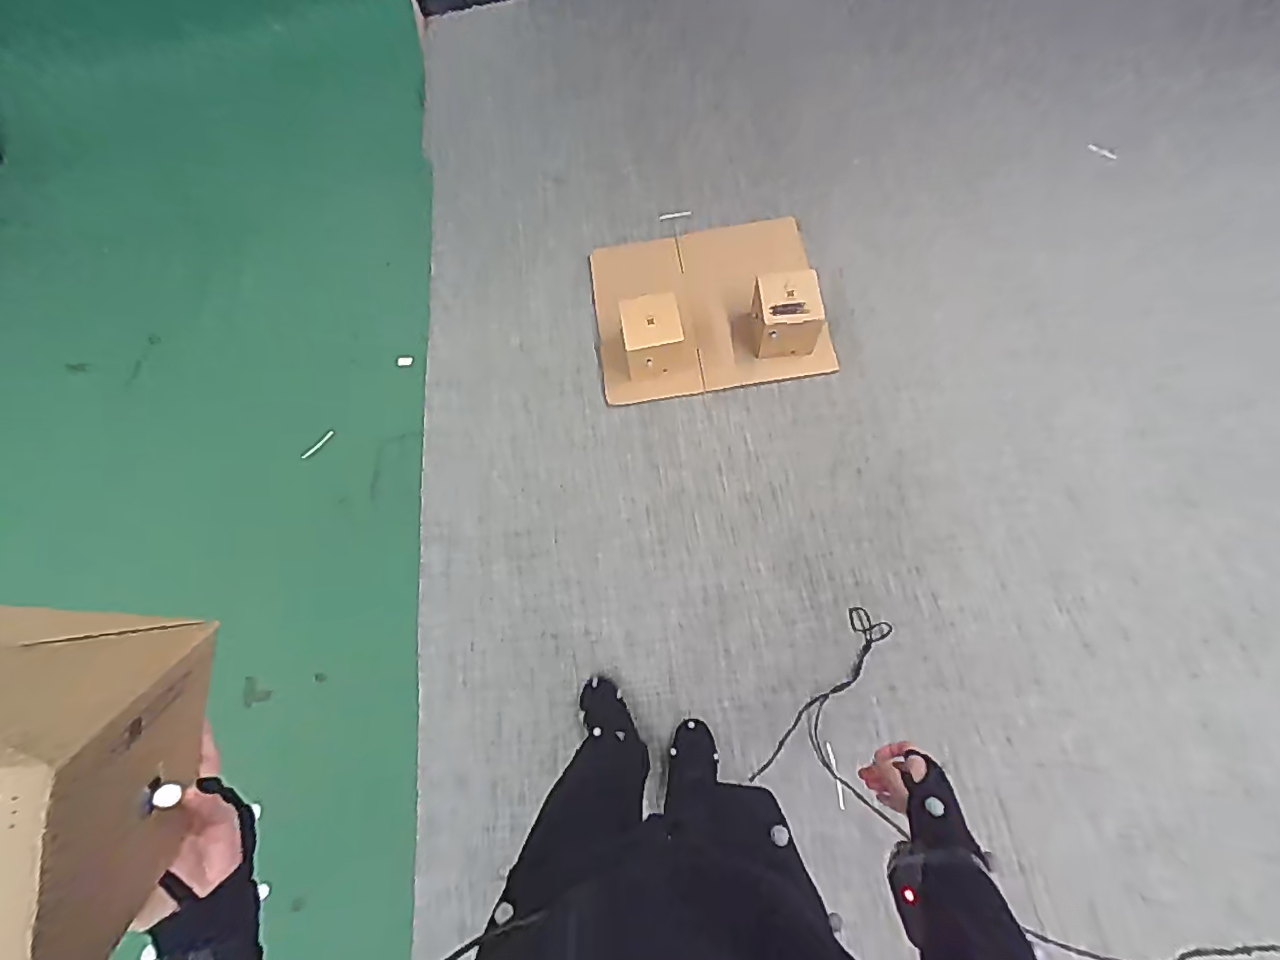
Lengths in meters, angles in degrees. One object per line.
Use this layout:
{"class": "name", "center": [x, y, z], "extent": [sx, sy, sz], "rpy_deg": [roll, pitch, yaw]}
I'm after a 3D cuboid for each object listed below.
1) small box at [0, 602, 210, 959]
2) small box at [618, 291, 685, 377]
{"class": "small box", "center": [-0.364, 0.171, 0.287], "extent": [0.179, 0.168, 0.176], "rpy_deg": [11, 94, -20]}
{"class": "small box", "center": [0.037, -0.418, 1.586], "extent": [0.168, 0.176, 0.179], "rpy_deg": [-10, 68, 2]}
